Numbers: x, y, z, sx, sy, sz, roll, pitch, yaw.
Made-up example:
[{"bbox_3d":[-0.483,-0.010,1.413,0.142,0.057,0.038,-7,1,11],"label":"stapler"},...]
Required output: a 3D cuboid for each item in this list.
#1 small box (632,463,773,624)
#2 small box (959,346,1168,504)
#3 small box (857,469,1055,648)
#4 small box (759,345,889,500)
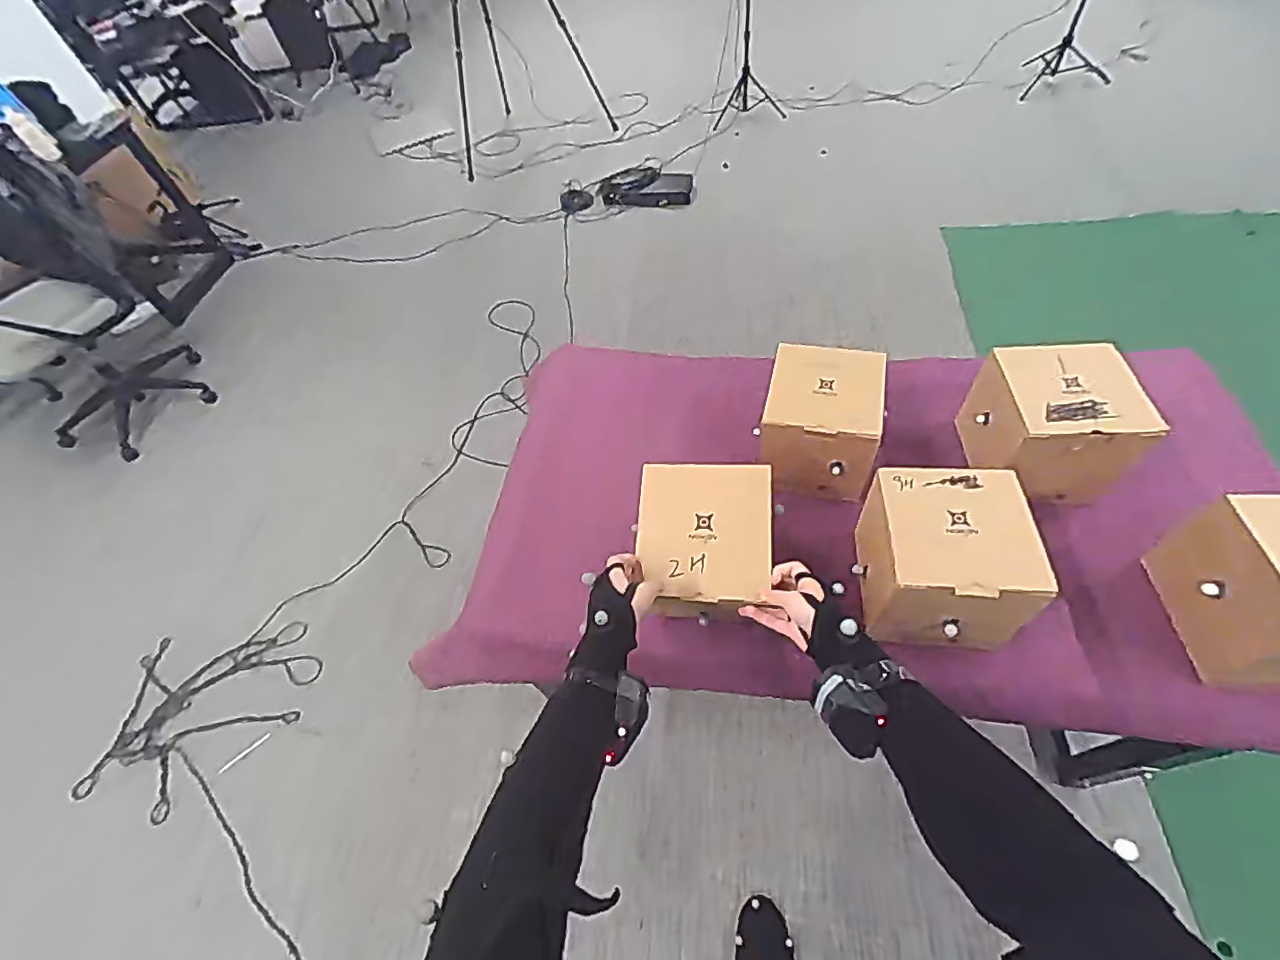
[{"bbox_3d":[0.093,0.091,0.736,0.168,0.176,0.179,1,68,13],"label":"small box"},{"bbox_3d":[0.608,-0.077,0.808,0.168,0.176,0.179,0,53,9],"label":"small box"},{"bbox_3d":[0.390,0.106,0.706,0.168,0.176,0.179,2,53,10],"label":"small box"},{"bbox_3d":[0.288,-0.089,0.868,0.168,0.176,0.179,10,56,15],"label":"small box"}]
